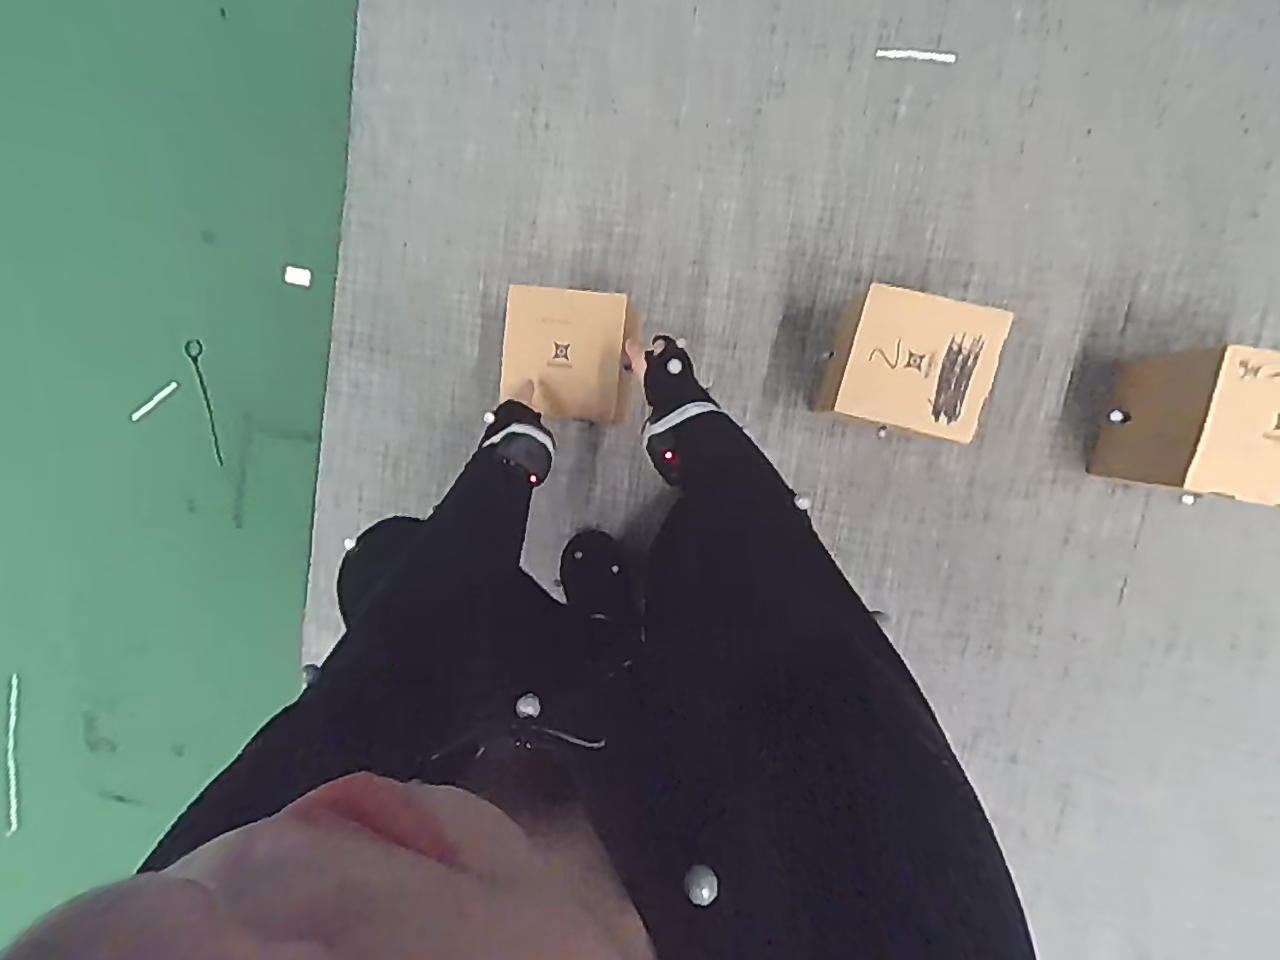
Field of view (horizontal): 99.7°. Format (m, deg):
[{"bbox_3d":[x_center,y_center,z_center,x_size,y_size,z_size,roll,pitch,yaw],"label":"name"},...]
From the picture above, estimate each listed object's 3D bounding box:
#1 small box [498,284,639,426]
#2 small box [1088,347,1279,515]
[{"bbox_3d":[-0.099,-0.179,0.814,0.168,0.176,0.179,8,96,6],"label":"small box"},{"bbox_3d":[0.745,-0.064,0.710,0.168,0.176,0.179,12,98,6],"label":"small box"}]
